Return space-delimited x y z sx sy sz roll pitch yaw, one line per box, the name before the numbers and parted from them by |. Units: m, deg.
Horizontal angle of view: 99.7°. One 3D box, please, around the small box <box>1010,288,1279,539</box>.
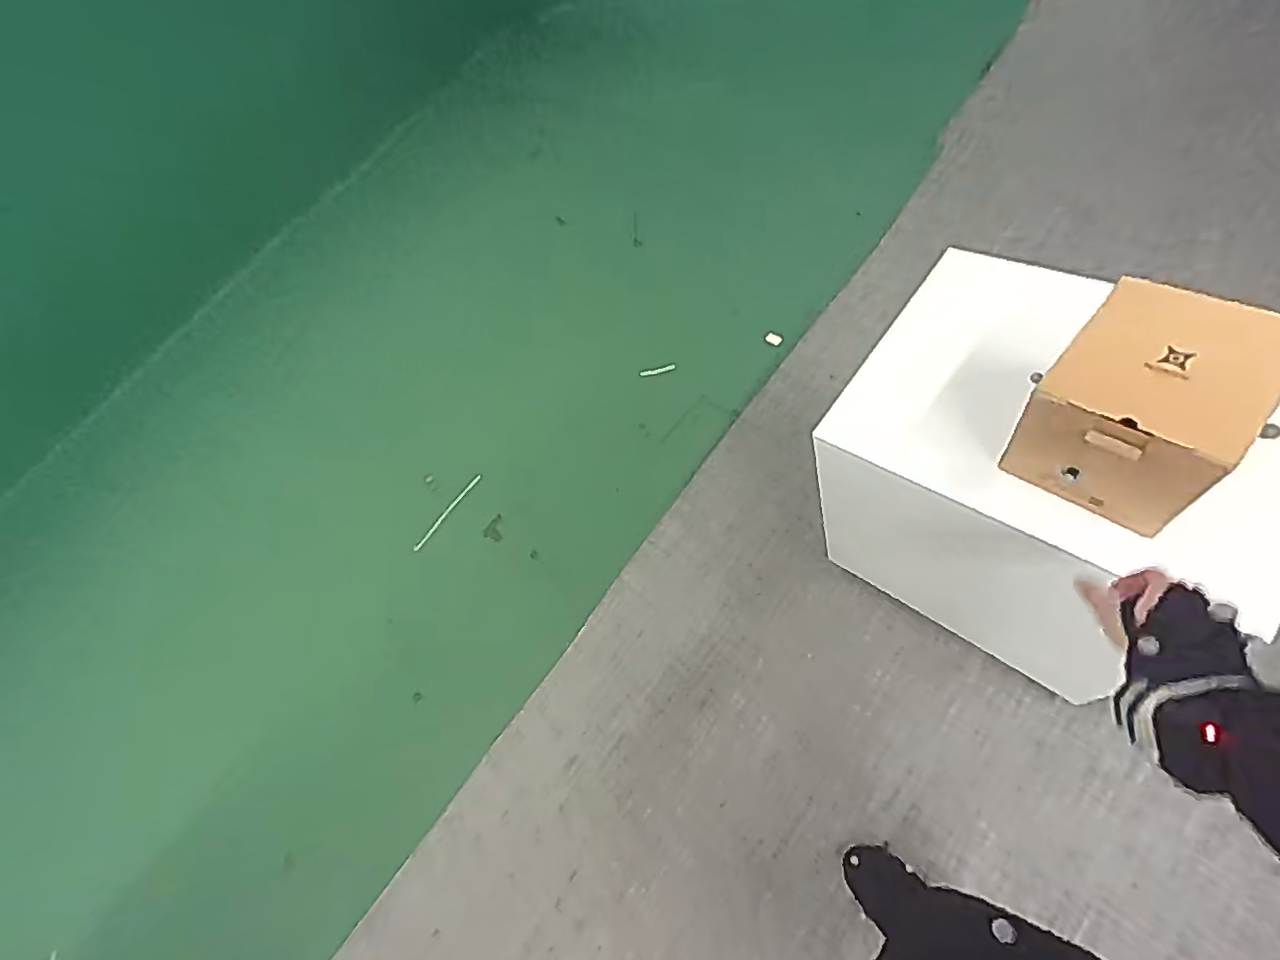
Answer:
small box | 0.547 -0.068 0.593 0.168 0.176 0.179 36 80 33
